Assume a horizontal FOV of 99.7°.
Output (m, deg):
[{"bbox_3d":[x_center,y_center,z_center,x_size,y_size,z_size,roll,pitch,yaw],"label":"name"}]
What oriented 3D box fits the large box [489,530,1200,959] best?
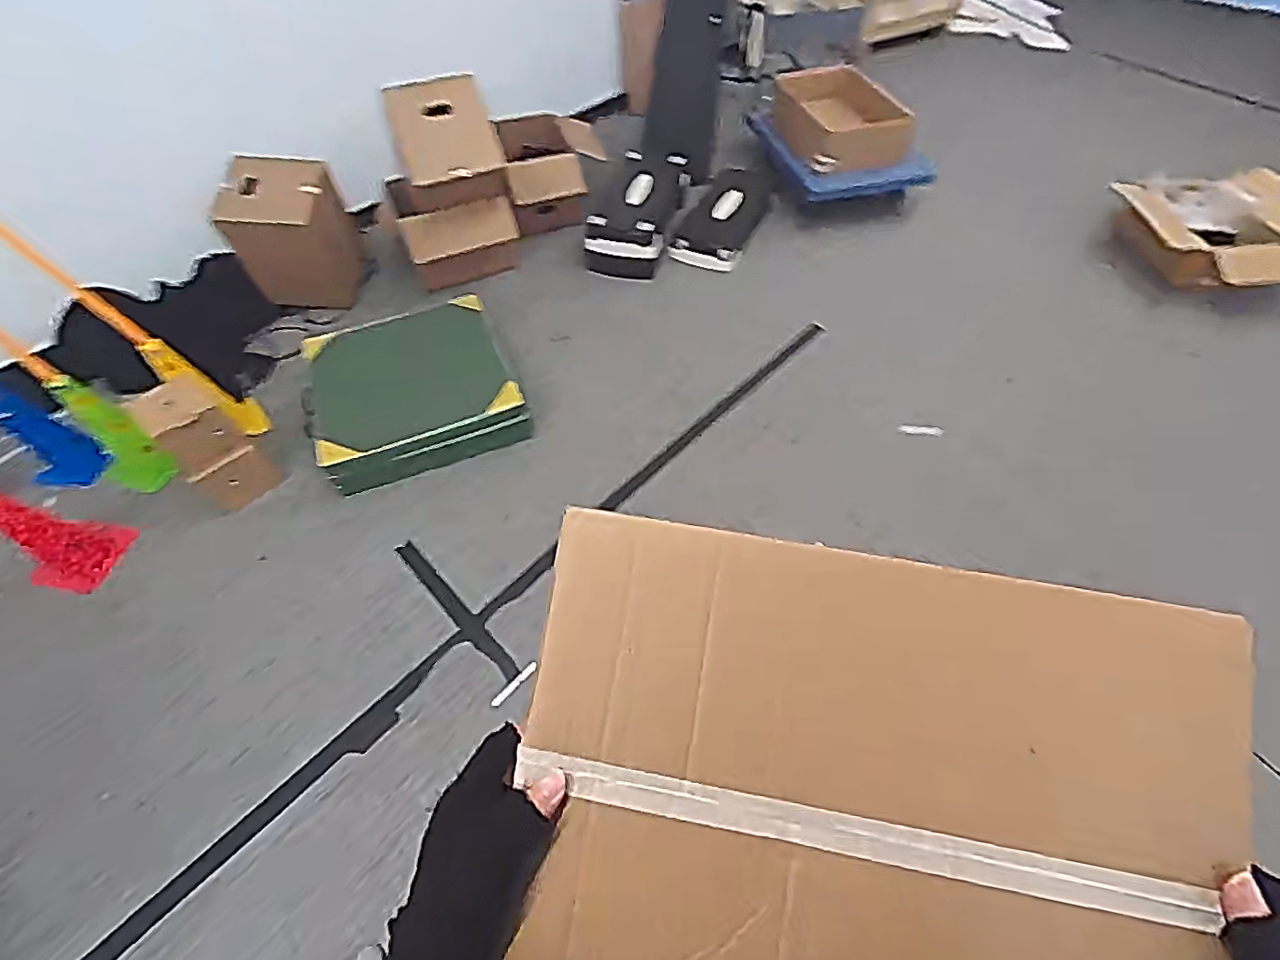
[{"bbox_3d":[0.132,0.227,0.473,0.408,0.320,0.320,8,81,5],"label":"large box"}]
